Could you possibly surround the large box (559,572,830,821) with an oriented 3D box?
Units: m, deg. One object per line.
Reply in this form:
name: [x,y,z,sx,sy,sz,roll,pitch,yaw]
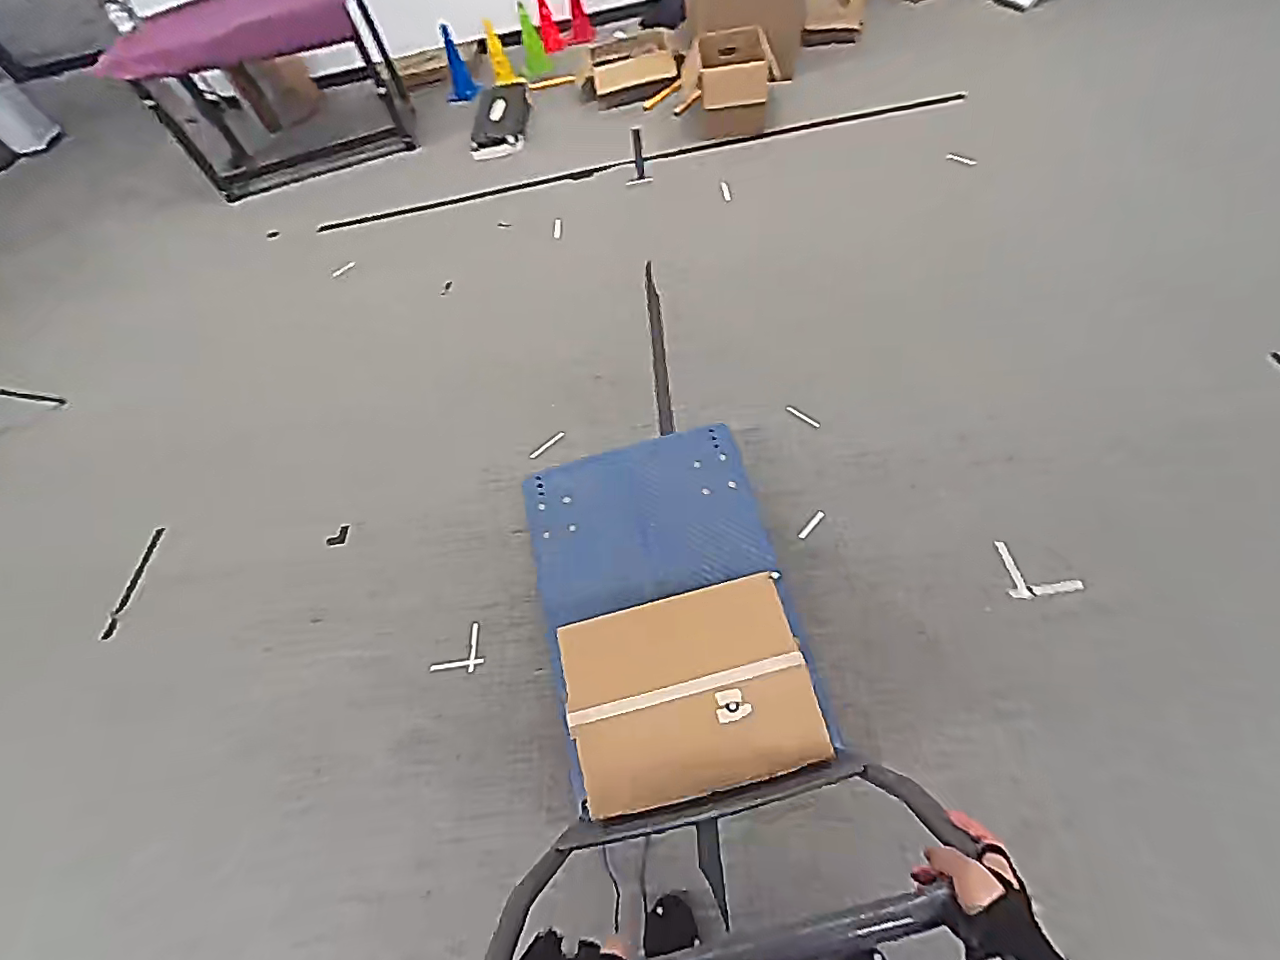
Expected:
large box: [0.094,0.417,1.063,0.408,0.320,0.320,-16,67,-1]
